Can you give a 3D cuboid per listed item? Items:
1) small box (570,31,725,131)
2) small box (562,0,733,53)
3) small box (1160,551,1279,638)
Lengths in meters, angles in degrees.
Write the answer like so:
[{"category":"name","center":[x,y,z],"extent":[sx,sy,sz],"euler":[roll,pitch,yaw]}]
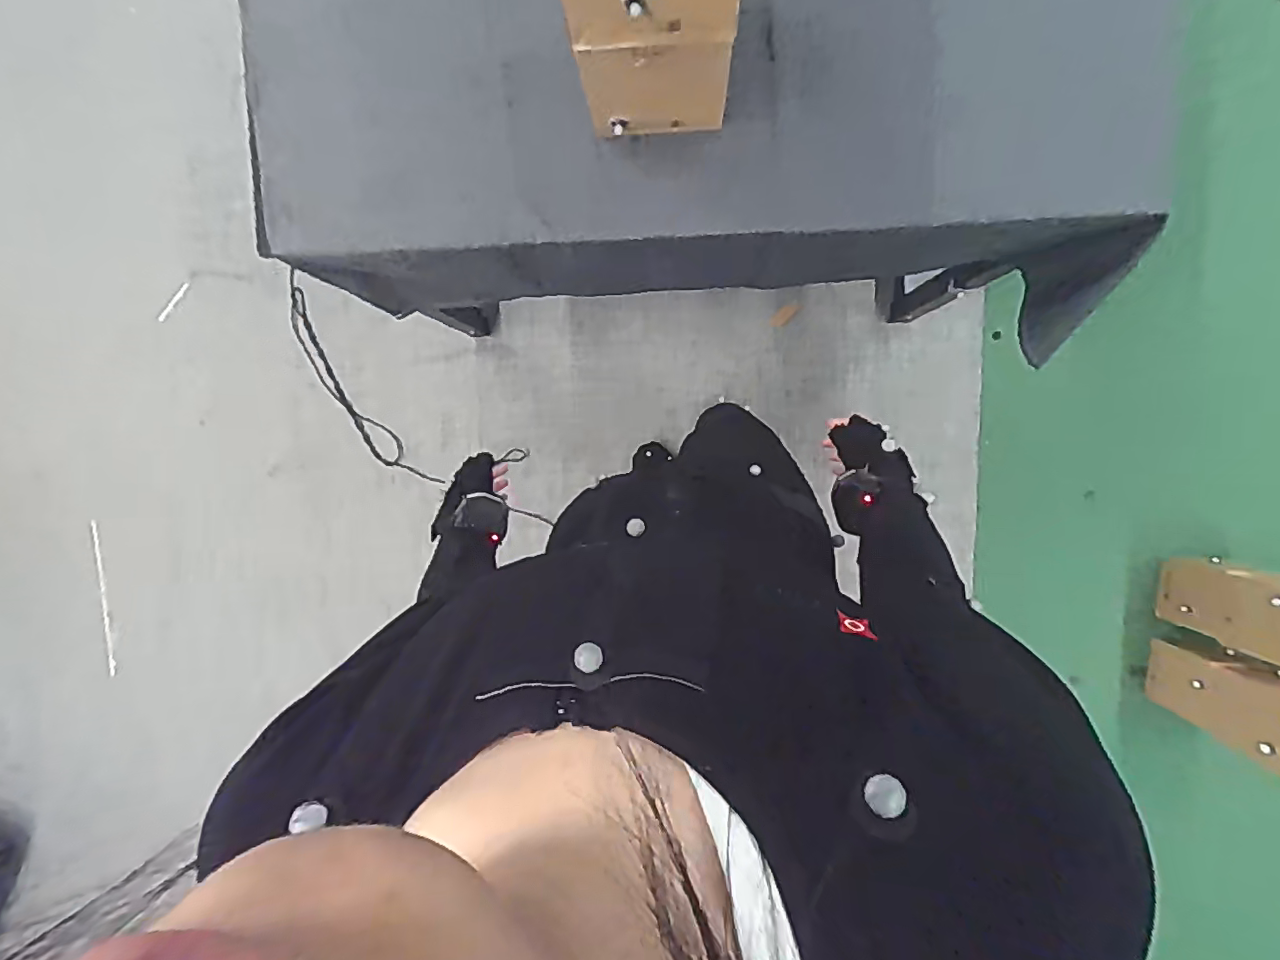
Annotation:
[{"category":"small box","center":[0.012,-0.538,0.632],"extent":[0.168,0.176,0.179],"euler":[-2,93,4]},{"category":"small box","center":[0.002,-0.524,0.471],"extent":[0.168,0.176,0.179],"euler":[-1,95,4]},{"category":"small box","center":[1.437,0.274,1.321],"extent":[0.179,0.176,0.168],"euler":[4,95,4]}]
